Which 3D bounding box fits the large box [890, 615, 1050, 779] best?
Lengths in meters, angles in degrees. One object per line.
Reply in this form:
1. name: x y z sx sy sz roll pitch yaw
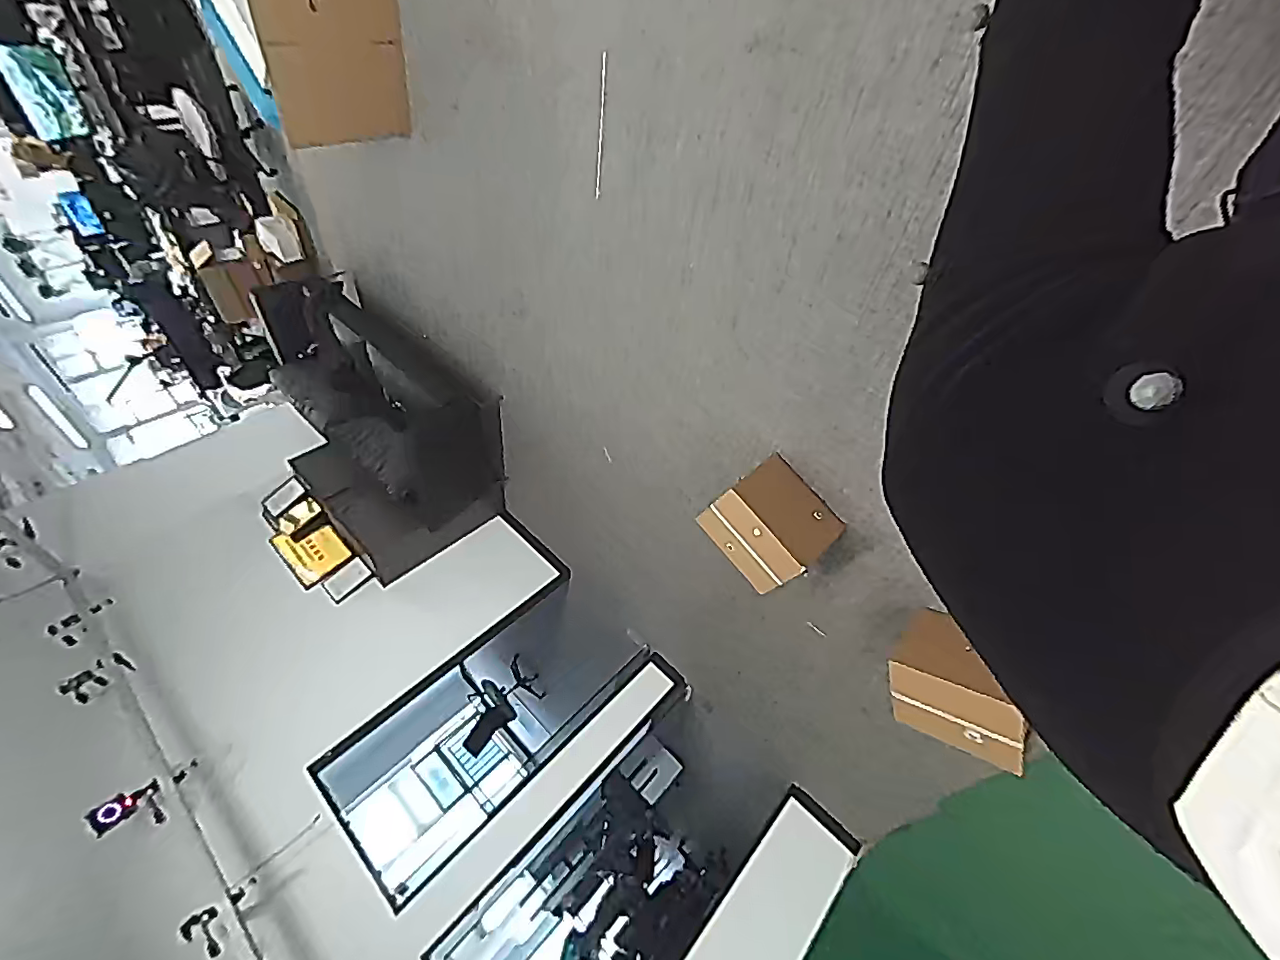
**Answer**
1. large box: 1.140 0.725 1.877 0.408 0.320 0.320 10 126 45
